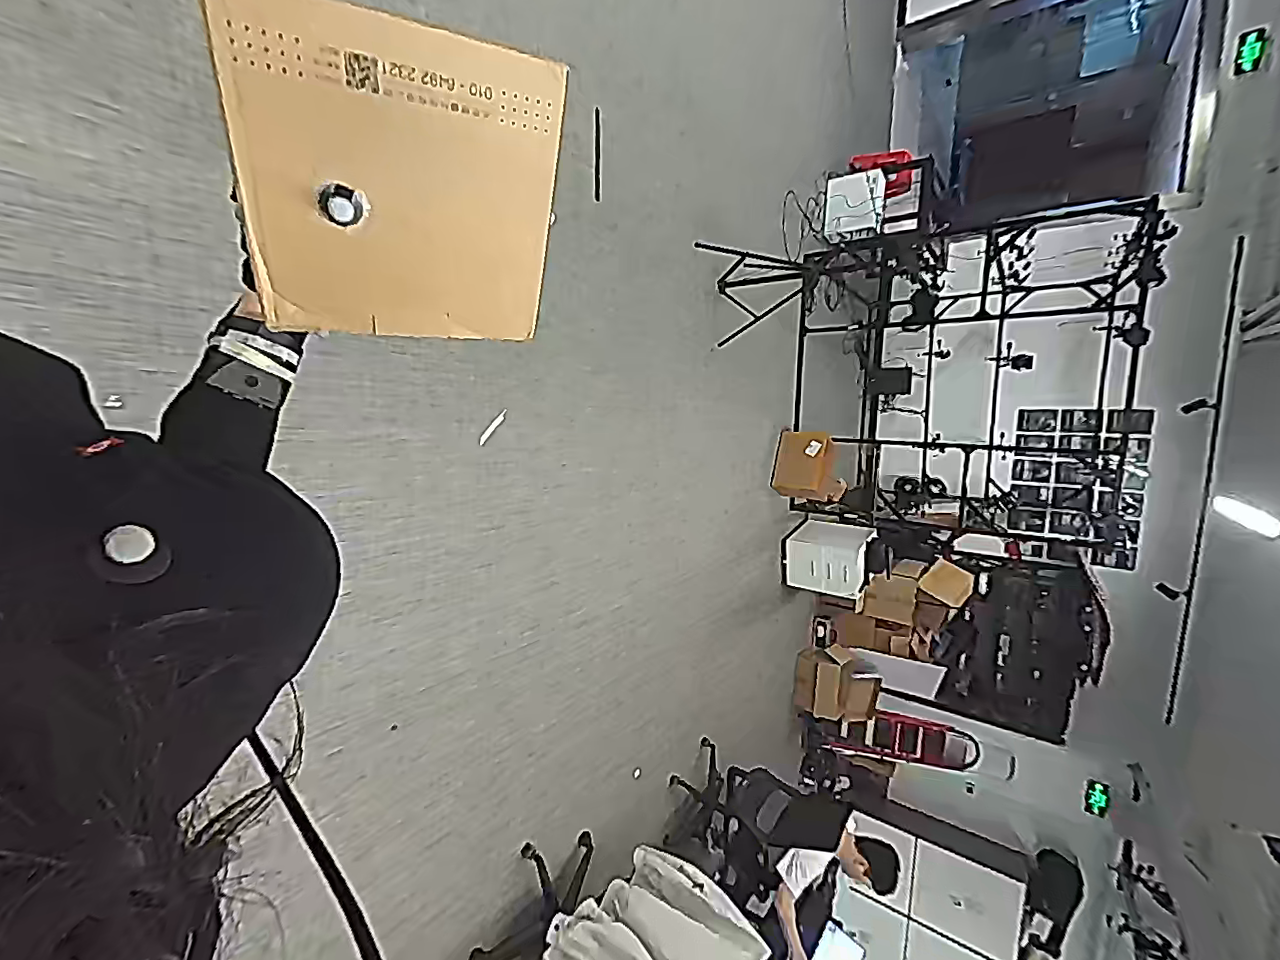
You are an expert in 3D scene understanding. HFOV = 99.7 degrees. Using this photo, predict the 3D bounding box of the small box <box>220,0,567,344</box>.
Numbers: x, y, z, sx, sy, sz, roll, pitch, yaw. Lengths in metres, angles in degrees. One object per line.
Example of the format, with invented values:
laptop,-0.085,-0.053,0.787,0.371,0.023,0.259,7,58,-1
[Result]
small box,-0.156,-0.208,0.360,0.168,0.179,0.176,-4,132,-28
